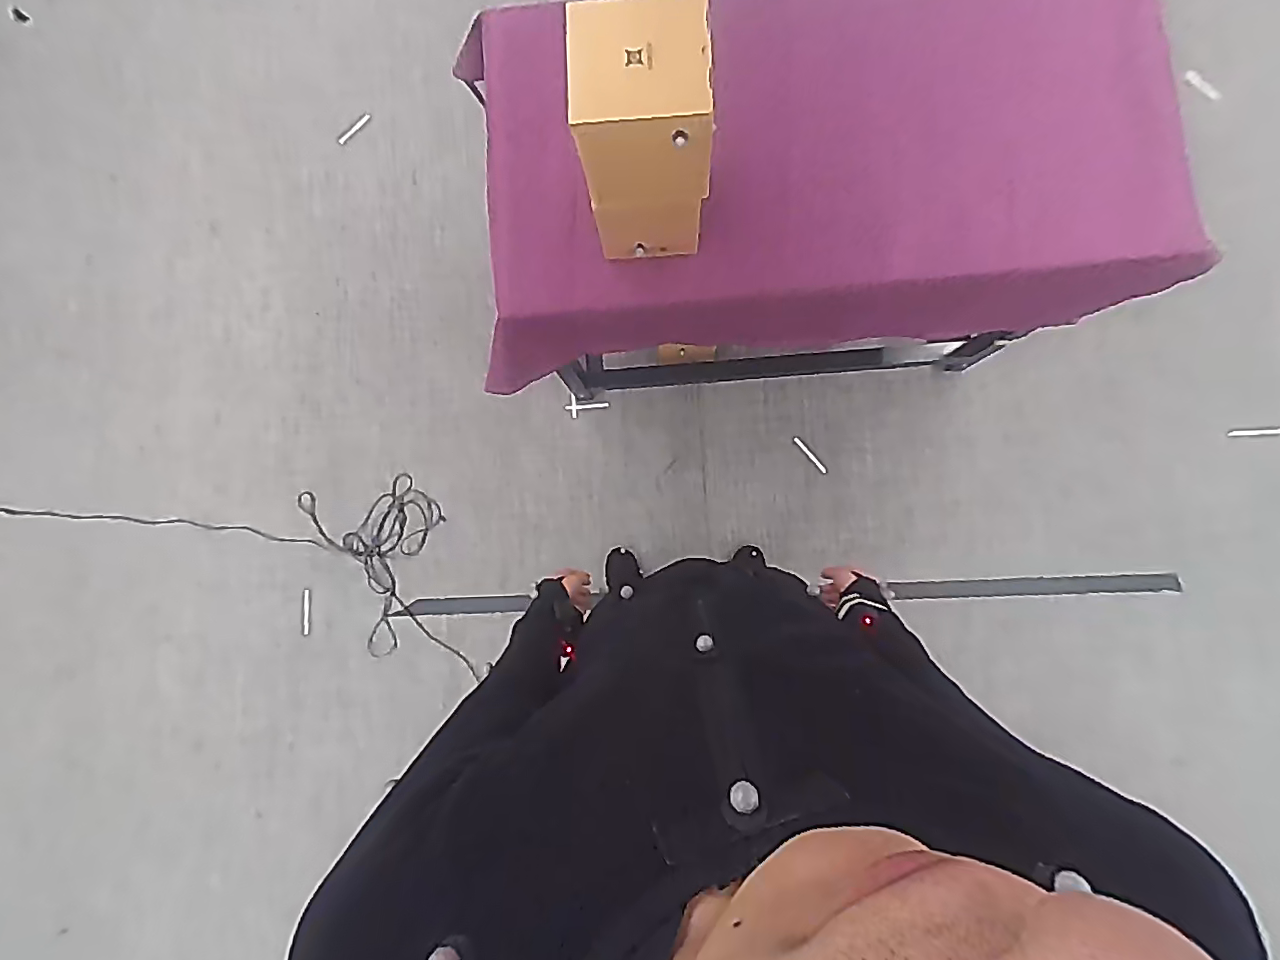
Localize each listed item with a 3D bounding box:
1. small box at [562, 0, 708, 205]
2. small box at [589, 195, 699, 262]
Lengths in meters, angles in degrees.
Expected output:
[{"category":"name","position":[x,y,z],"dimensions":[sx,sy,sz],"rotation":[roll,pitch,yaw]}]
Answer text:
[{"category":"small box","position":[-0.001,-0.493,0.725],"dimensions":[0.179,0.176,0.168],"rotation":[-2,85,4]},{"category":"small box","position":[0.008,-0.485,0.887],"dimensions":[0.168,0.176,0.179],"rotation":[-3,85,4]}]
